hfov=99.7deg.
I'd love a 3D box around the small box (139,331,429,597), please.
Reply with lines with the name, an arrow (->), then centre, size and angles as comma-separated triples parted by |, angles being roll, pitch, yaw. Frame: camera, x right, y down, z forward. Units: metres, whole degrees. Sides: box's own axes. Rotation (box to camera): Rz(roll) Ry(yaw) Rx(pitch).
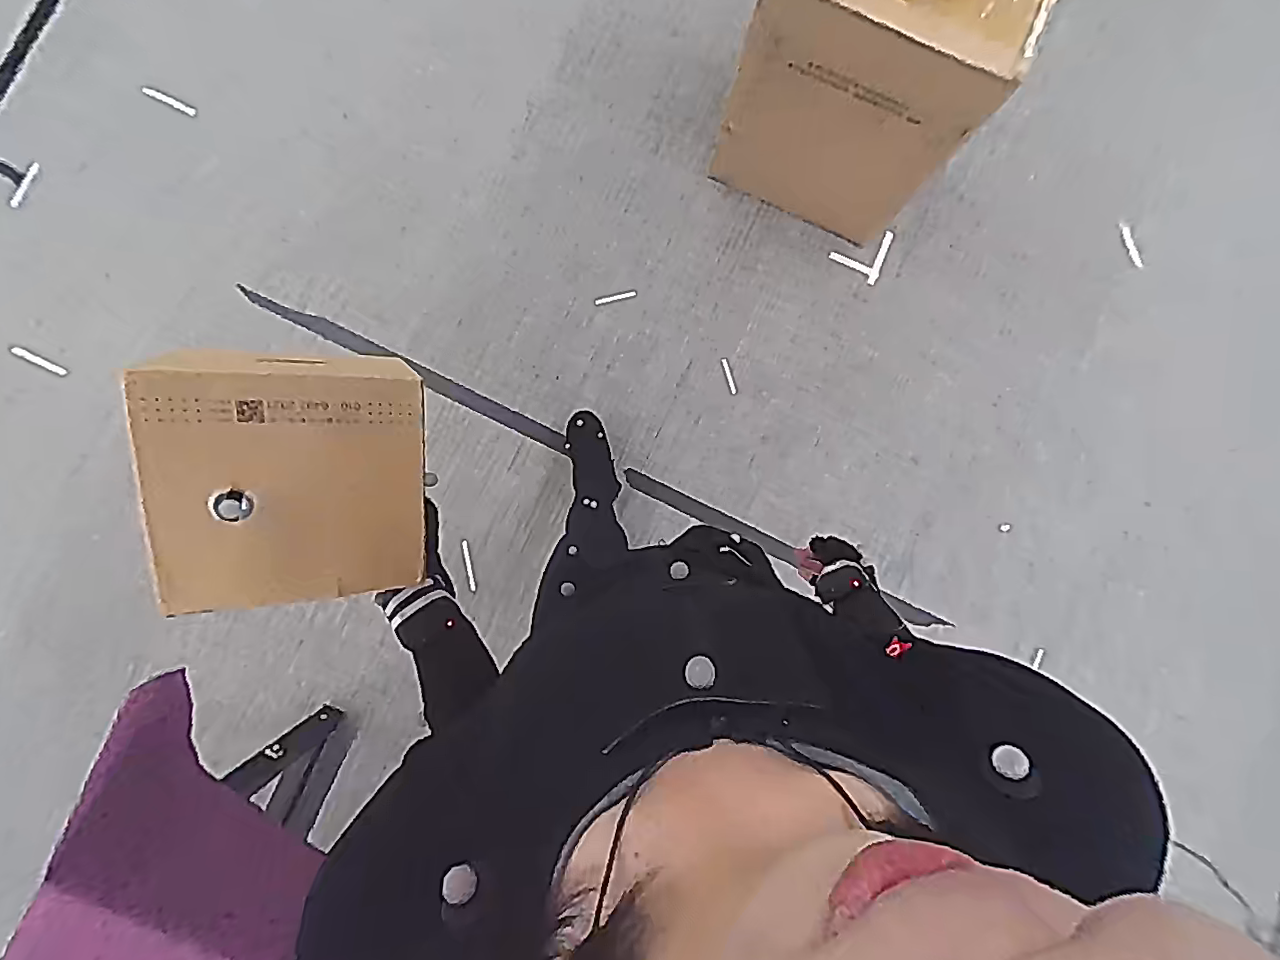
small box -> -0.270, -0.028, 0.442 | 0.168, 0.179, 0.176 | -1, 108, -27
